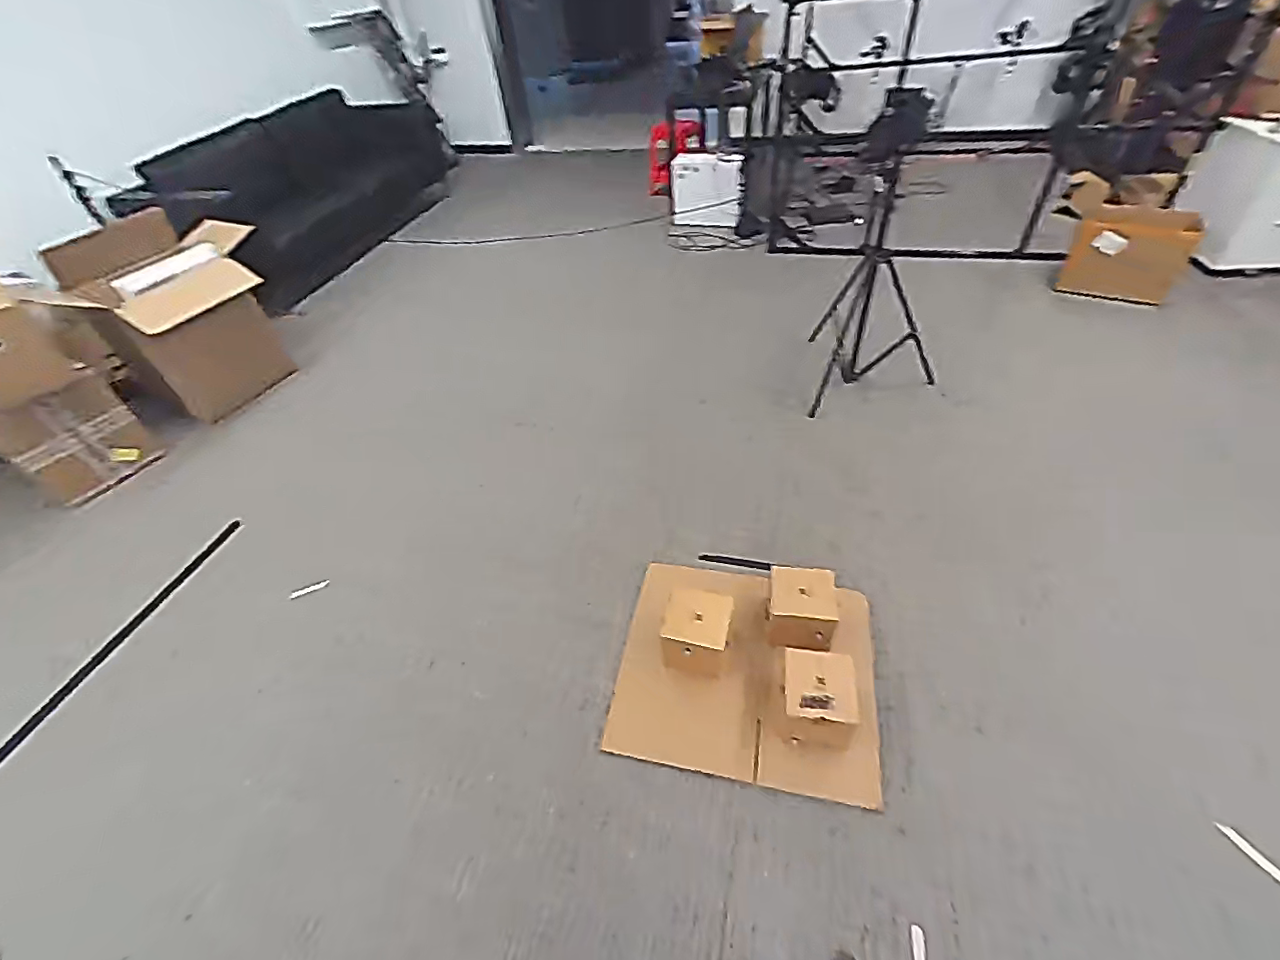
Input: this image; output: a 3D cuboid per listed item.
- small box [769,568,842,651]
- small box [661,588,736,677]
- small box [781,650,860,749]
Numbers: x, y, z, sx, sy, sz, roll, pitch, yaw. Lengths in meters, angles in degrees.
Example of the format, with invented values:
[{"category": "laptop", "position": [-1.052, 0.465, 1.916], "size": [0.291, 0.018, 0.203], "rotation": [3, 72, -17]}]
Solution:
[{"category": "small box", "position": [0.466, 0.373, 1.548], "size": [0.179, 0.176, 0.168], "rotation": [2, 44, 10]}, {"category": "small box", "position": [0.169, 0.433, 1.521], "size": [0.179, 0.176, 0.168], "rotation": [8, 47, 16]}, {"category": "small box", "position": [0.448, 0.556, 1.363], "size": [0.168, 0.176, 0.179], "rotation": [3, 45, 11]}]
